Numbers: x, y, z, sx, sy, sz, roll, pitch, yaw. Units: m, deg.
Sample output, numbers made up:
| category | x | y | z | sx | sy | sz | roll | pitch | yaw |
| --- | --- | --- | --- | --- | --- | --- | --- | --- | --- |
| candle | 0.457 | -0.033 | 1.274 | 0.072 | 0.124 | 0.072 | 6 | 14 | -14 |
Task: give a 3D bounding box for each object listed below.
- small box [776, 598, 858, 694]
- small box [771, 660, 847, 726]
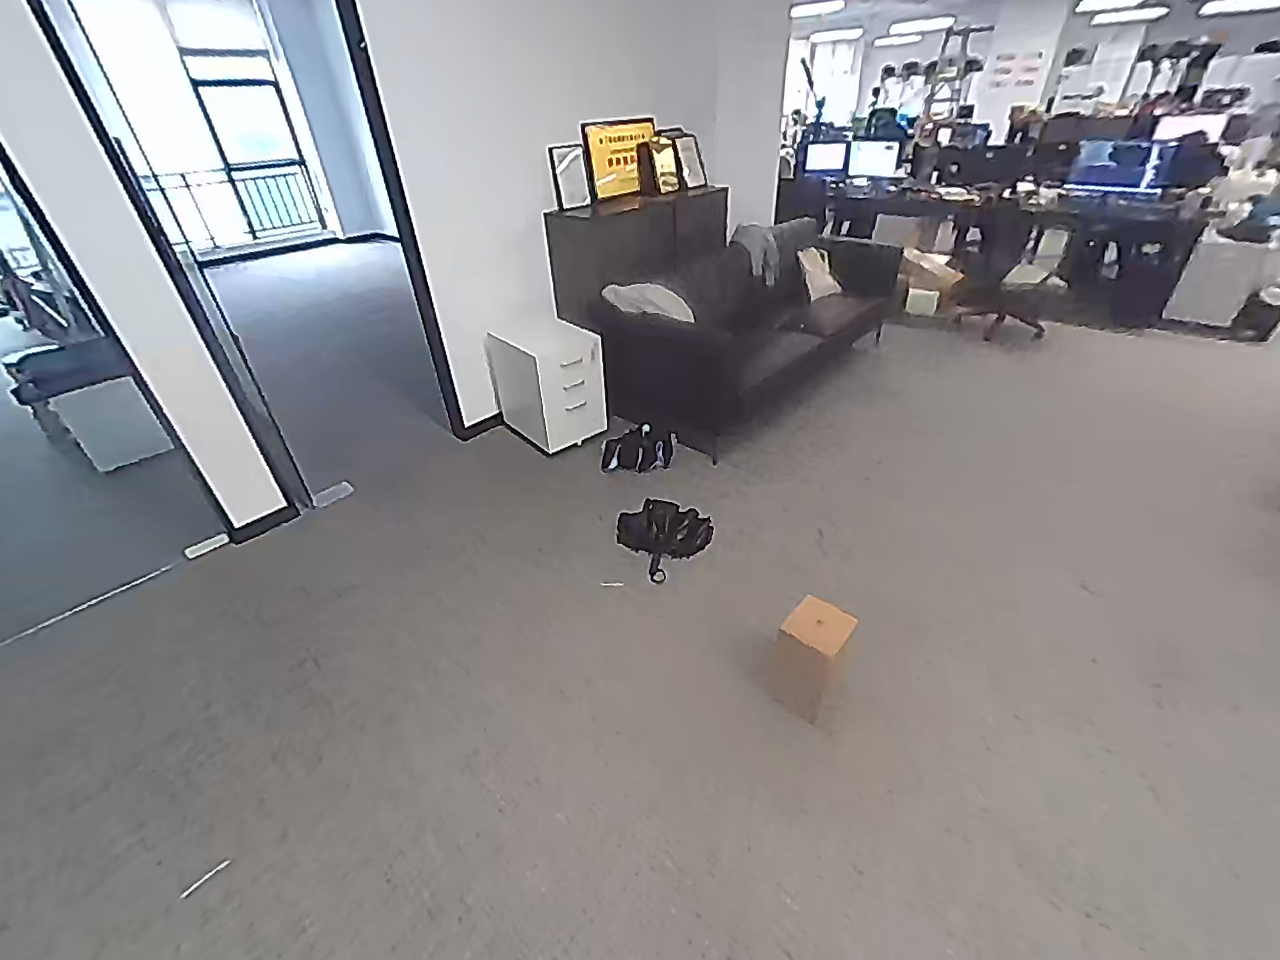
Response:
| category | x | y | z | sx | sy | sz | roll | pitch | yaw |
| --- | --- | --- | --- | --- | --- | --- | --- | --- | --- |
| small box | 0.520 | 0.493 | 1.604 | 0.168 | 0.176 | 0.179 | 26 | 42 | 34 |
| small box | 0.525 | 0.628 | 1.696 | 0.168 | 0.176 | 0.179 | 25 | 43 | 34 |
